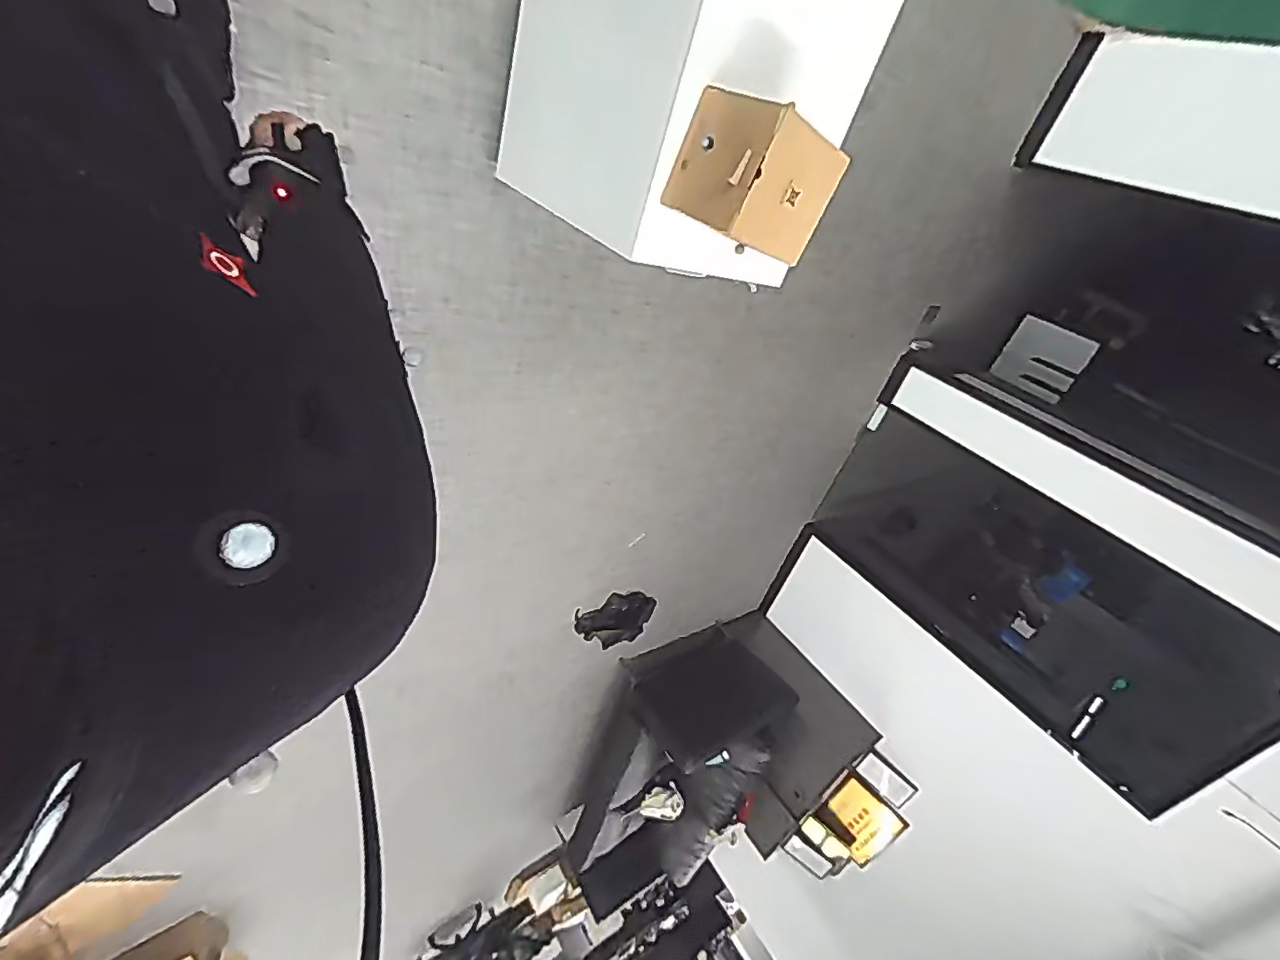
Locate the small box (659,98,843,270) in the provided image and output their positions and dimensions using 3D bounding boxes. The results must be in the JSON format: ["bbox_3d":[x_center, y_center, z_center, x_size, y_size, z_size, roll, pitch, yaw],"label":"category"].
[{"bbox_3d":[0.163,-0.450,0.826,0.179,0.176,0.168,-1,126,-43],"label":"small box"}]
